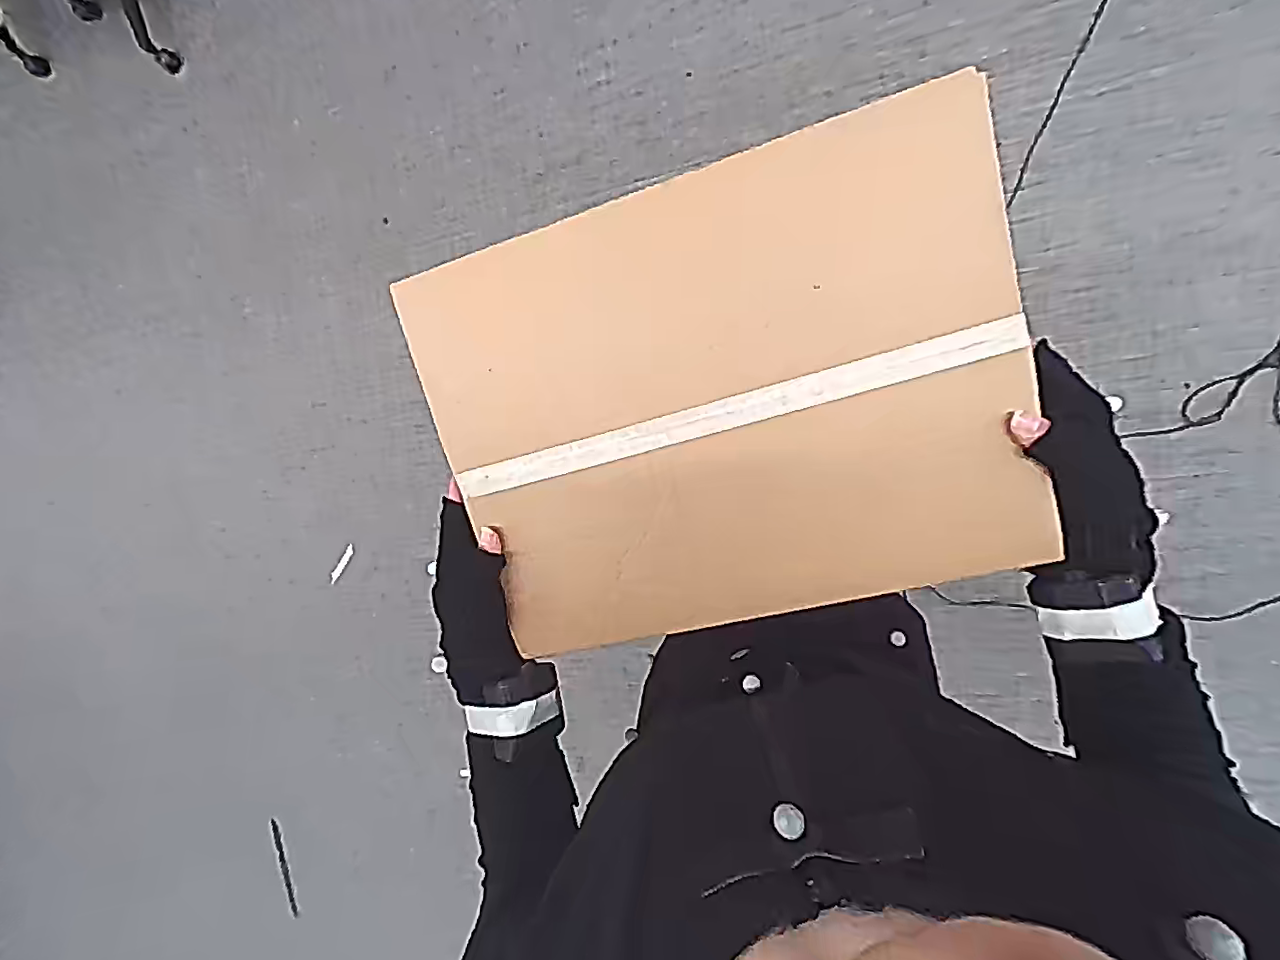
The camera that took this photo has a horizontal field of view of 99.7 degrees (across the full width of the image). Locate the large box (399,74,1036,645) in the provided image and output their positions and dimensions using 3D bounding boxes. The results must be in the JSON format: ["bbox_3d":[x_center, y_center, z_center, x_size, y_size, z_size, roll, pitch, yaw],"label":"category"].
[{"bbox_3d":[0.071,-0.086,0.533,0.408,0.320,0.320,-15,99,13],"label":"large box"}]
